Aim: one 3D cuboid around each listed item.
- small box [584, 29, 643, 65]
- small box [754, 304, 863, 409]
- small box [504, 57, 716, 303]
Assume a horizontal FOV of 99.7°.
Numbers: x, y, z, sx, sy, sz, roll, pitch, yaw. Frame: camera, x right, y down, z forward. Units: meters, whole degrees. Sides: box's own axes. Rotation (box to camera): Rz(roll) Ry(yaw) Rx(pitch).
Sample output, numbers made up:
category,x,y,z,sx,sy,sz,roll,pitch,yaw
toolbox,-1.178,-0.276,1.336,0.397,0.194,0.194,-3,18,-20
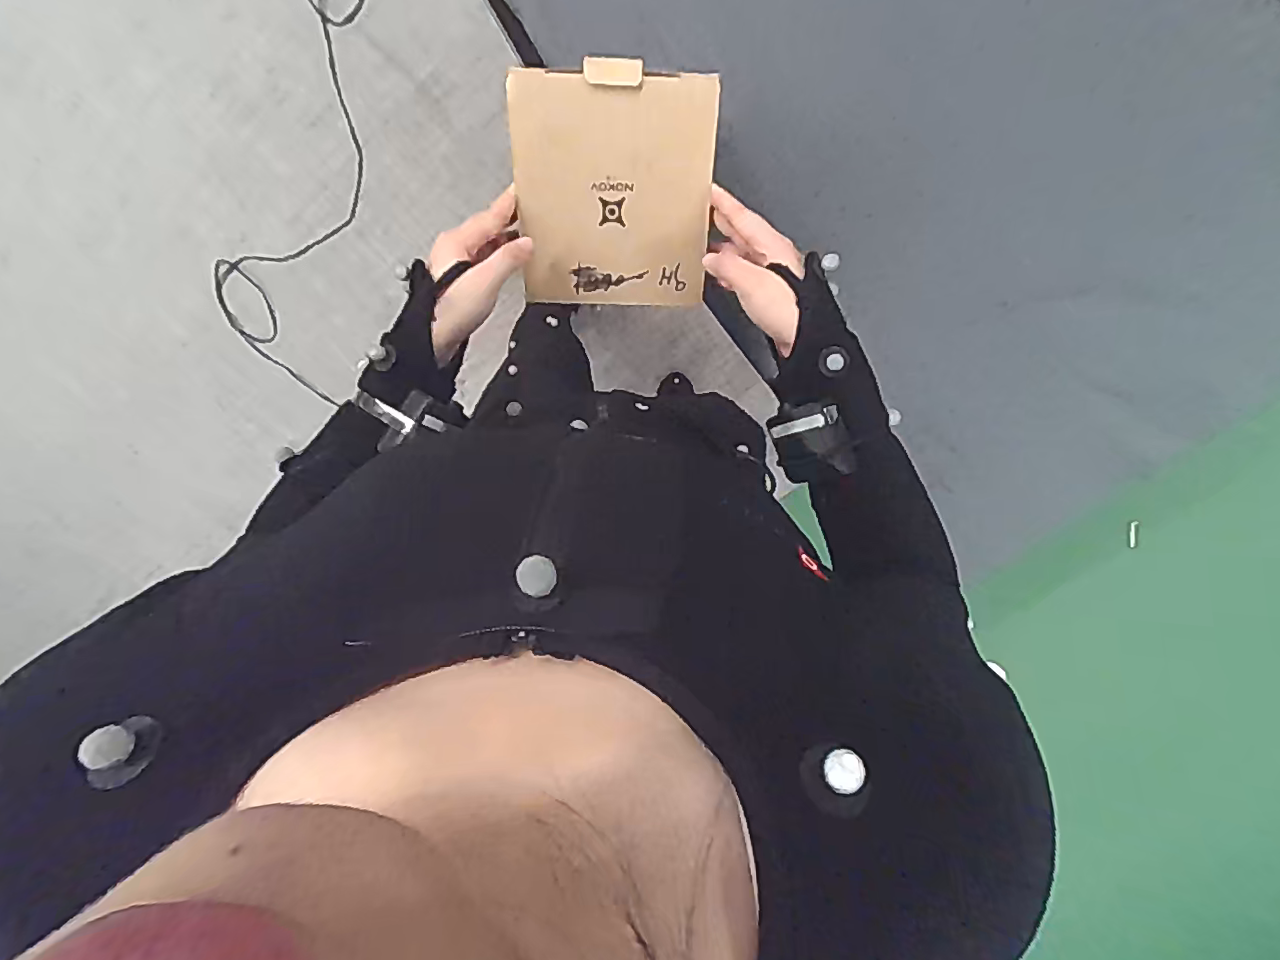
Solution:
category,x,y,z,sx,sy,sz,roll,pitch,yaw
small box,-0.055,-0.793,1.163,0.179,0.176,0.168,-34,103,11
small box,0.392,-0.298,1.297,0.179,0.176,0.168,-43,102,13
small box,-0.026,-0.281,0.519,0.168,0.176,0.179,2,122,0
